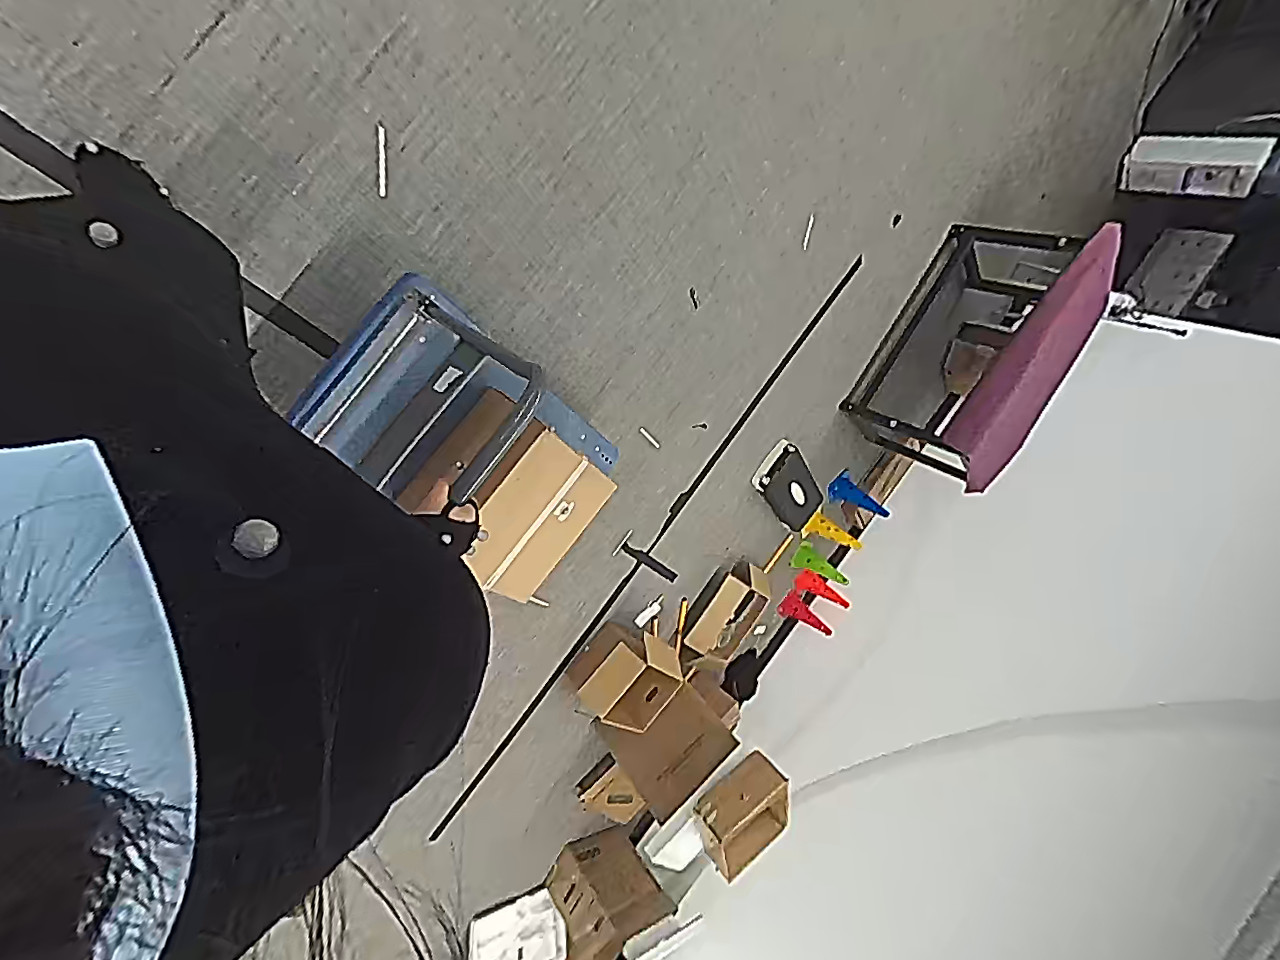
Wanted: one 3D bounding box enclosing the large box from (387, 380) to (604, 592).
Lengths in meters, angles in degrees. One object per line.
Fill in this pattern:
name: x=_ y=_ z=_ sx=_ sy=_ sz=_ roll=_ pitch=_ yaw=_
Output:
large box: x=-0.381 y=0.015 z=1.429 sx=0.408 sy=0.320 sz=0.320 roll=-53 pitch=140 yaw=-4
